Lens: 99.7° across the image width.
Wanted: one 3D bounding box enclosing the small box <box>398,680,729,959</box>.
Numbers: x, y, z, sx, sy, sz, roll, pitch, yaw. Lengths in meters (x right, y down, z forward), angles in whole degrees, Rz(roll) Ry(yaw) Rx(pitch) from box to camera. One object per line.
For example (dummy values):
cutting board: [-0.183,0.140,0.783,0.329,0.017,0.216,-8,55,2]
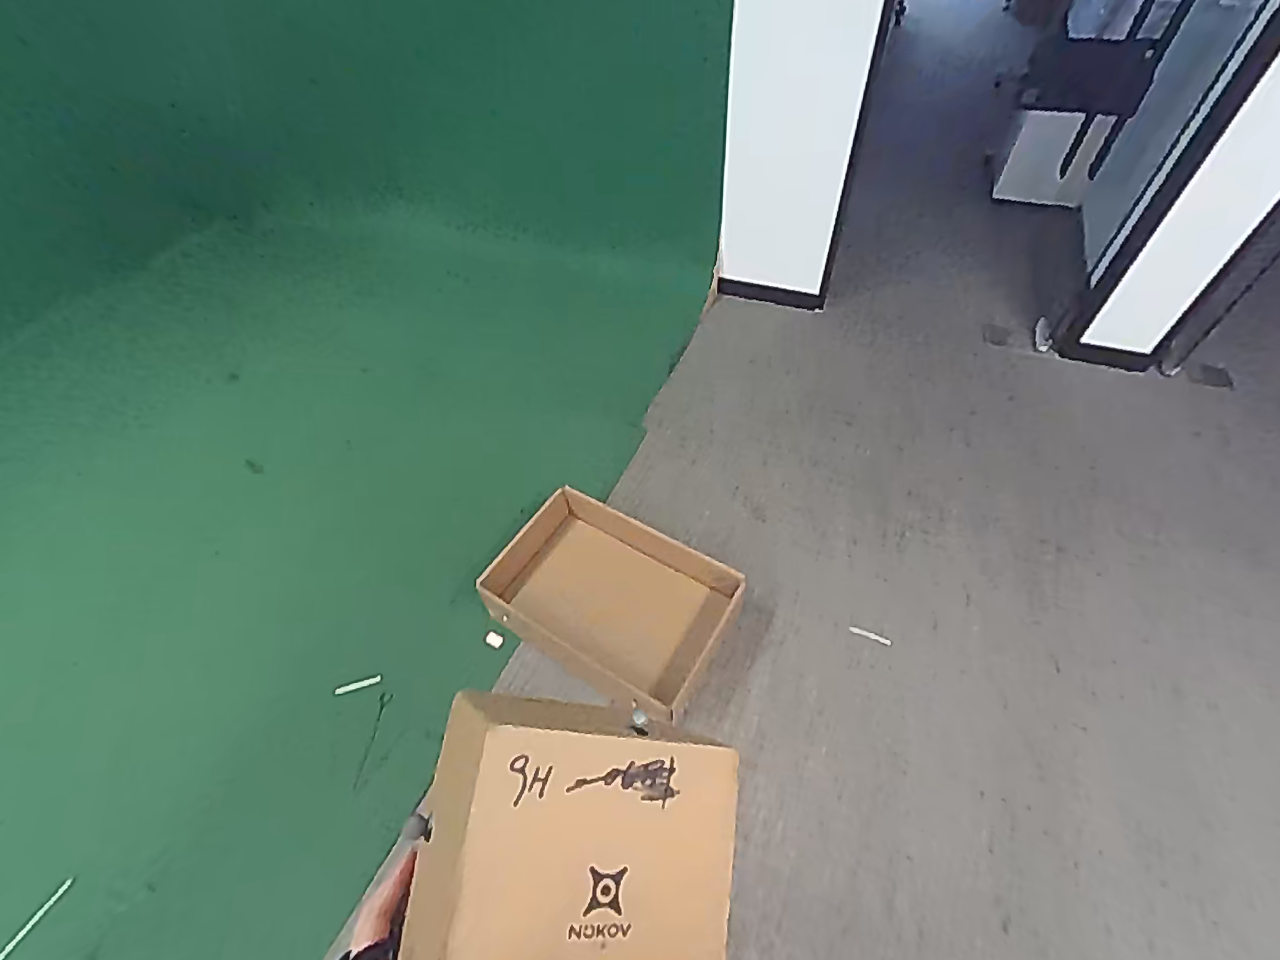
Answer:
small box: [-0.060,0.247,0.374,0.168,0.176,0.179,16,71,-20]
